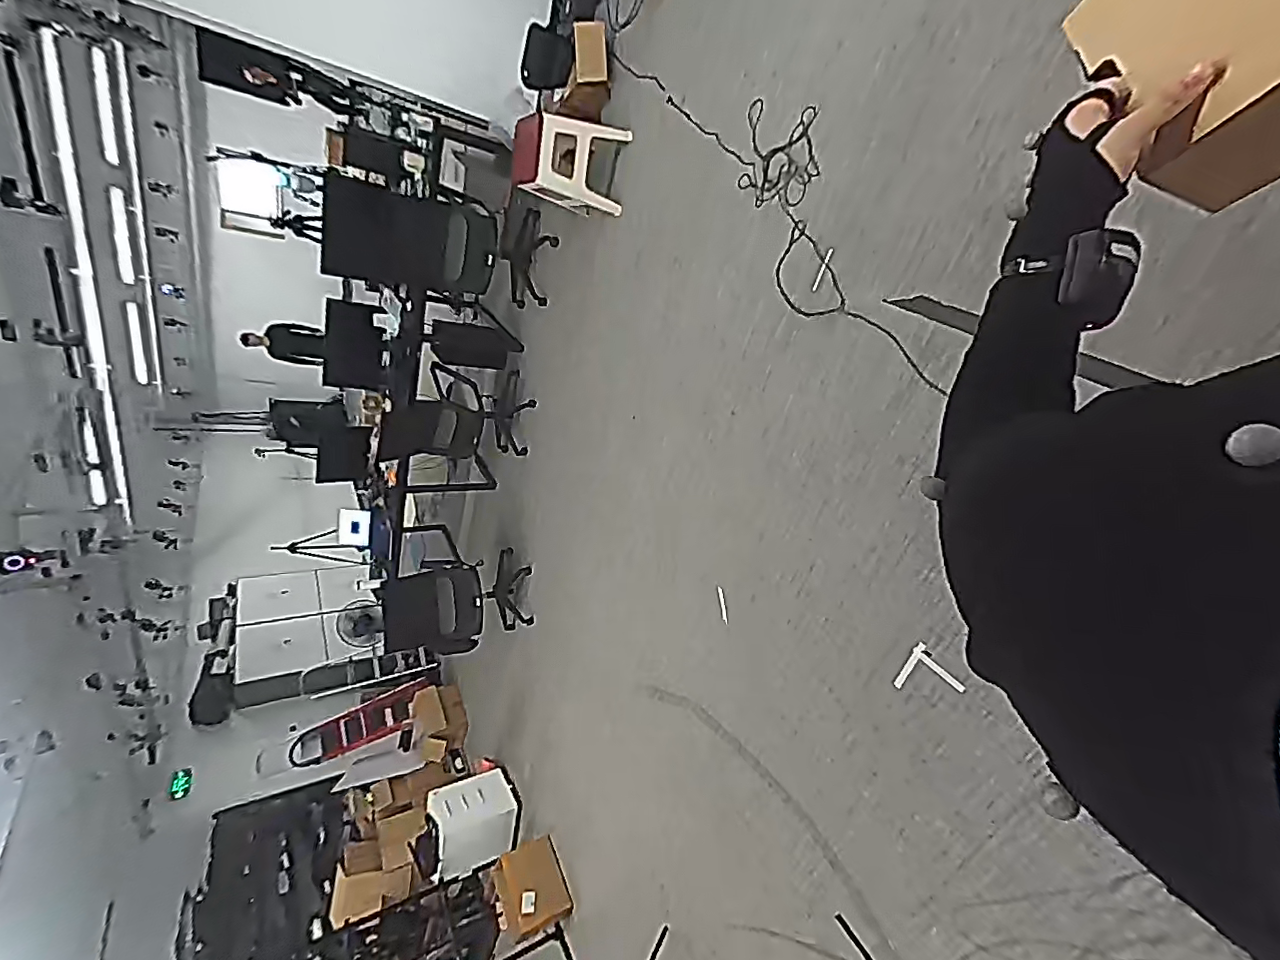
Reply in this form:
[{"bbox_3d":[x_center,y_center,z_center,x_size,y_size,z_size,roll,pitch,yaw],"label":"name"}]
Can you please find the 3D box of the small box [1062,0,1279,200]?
[{"bbox_3d":[0.484,-0.352,0.411,0.179,0.176,0.168,-34,64,57],"label":"small box"}]
